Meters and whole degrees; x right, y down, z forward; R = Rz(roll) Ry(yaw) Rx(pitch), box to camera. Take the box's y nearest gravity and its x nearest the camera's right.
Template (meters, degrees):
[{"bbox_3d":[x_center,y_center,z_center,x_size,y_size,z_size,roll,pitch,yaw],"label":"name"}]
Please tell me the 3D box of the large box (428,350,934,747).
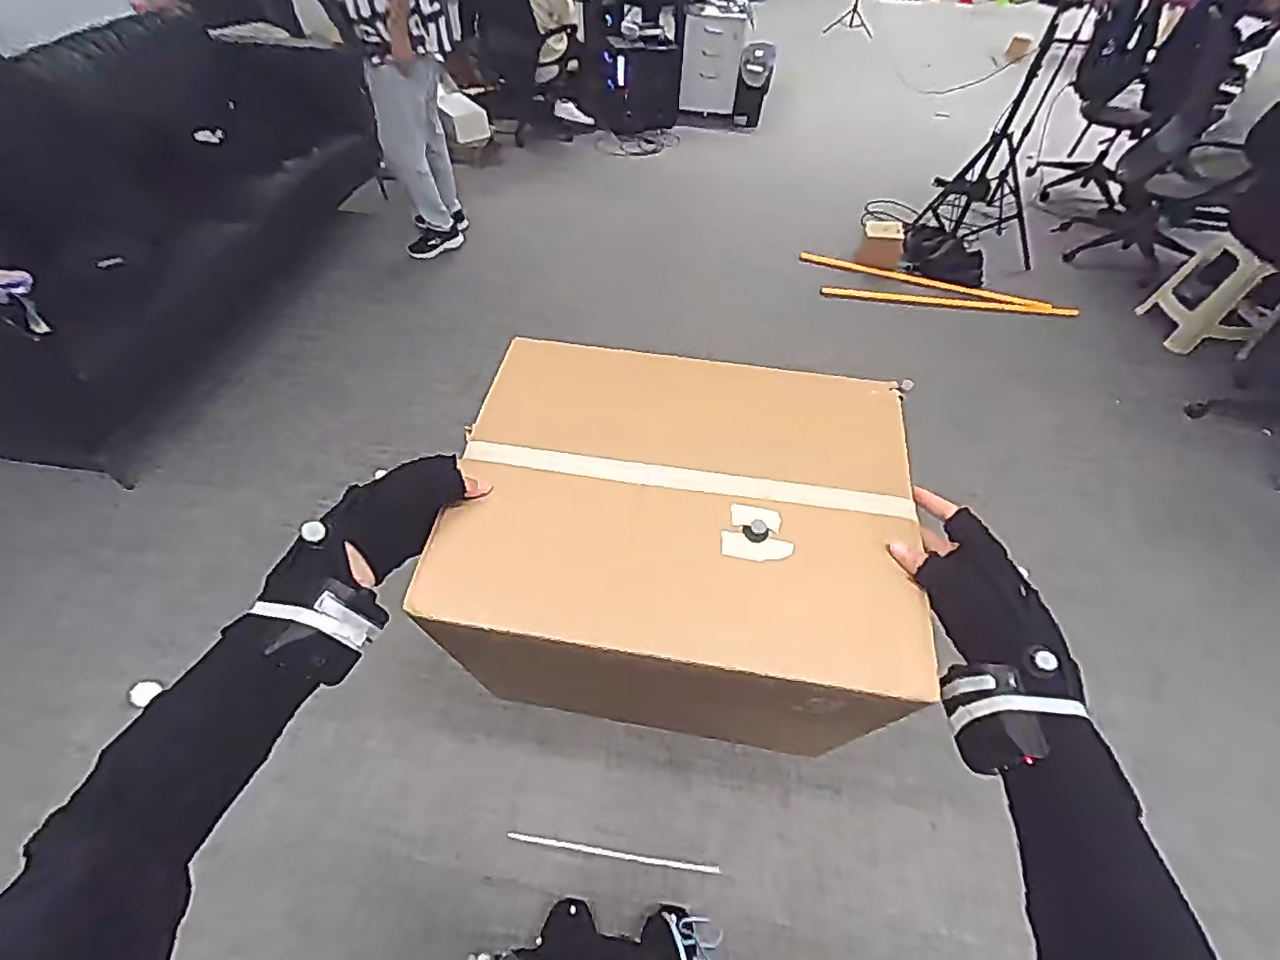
[{"bbox_3d":[0.042,0.088,0.621,0.408,0.320,0.320,8,57,4],"label":"large box"}]
